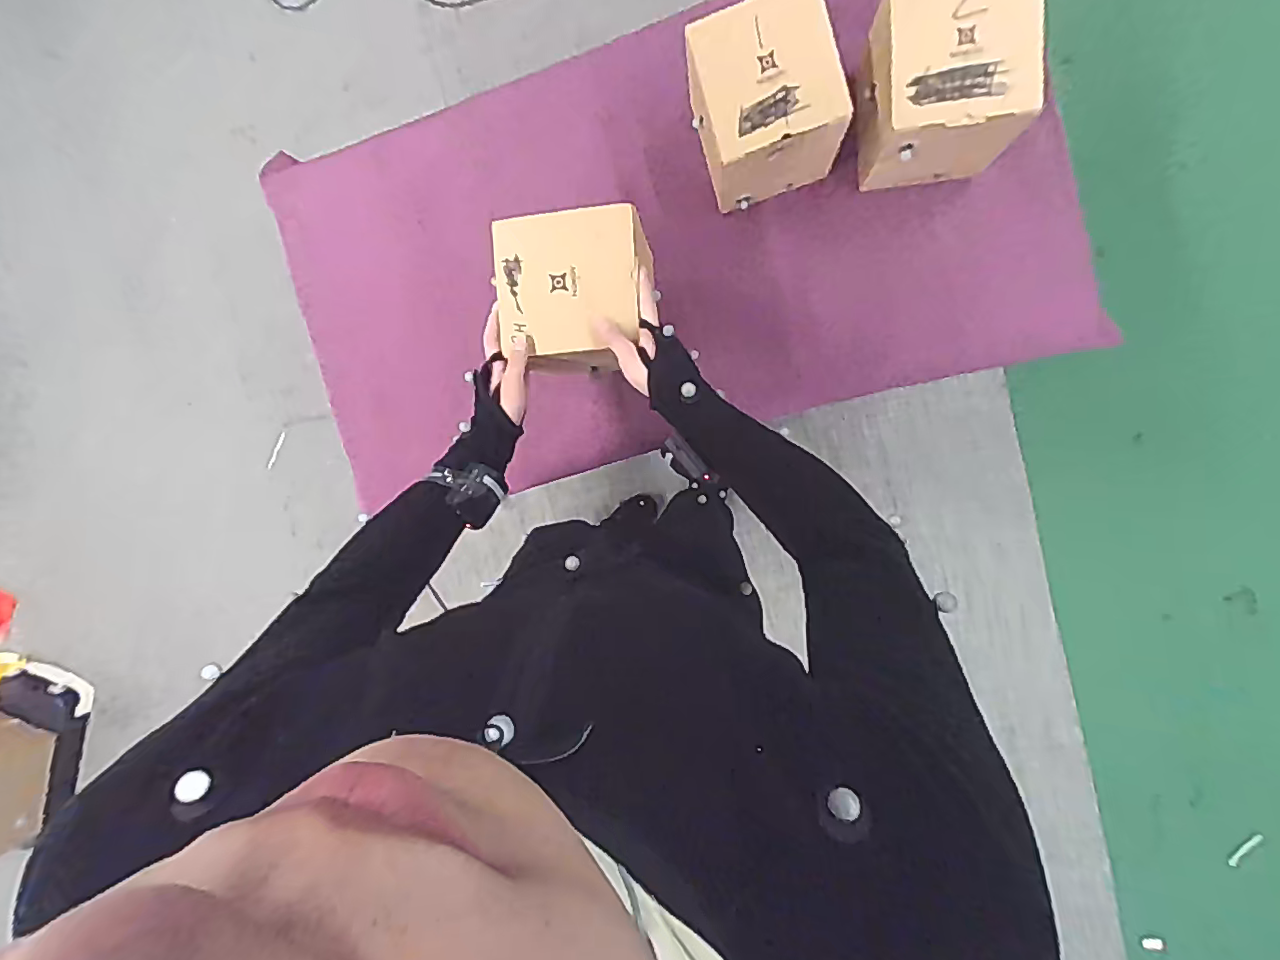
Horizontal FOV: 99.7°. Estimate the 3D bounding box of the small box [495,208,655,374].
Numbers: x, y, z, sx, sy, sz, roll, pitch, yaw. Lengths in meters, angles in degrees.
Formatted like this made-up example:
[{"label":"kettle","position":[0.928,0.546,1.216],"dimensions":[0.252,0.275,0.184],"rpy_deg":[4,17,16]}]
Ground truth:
[{"label":"small box","position":[-0.073,-0.236,0.715],"dimensions":[0.179,0.176,0.168],"rpy_deg":[-2,93,8]}]
